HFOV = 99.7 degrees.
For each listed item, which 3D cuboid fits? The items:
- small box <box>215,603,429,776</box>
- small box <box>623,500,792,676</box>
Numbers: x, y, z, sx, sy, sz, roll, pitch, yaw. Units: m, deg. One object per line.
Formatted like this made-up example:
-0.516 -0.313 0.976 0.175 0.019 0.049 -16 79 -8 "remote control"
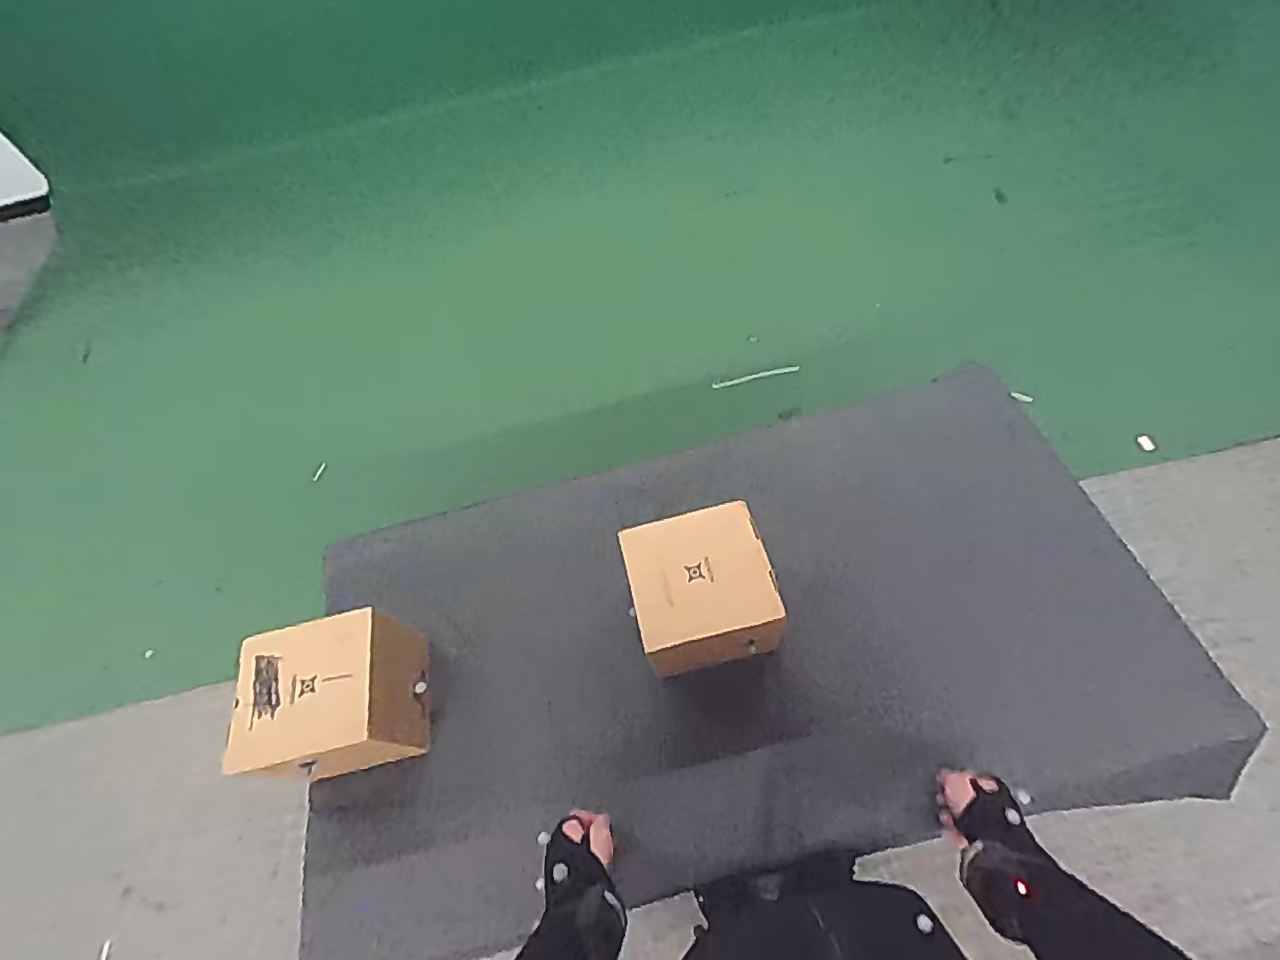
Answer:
-0.401 0.283 0.716 0.179 0.176 0.168 -13 60 -2 "small box"
0.086 0.153 0.736 0.179 0.176 0.168 -15 59 0 "small box"
